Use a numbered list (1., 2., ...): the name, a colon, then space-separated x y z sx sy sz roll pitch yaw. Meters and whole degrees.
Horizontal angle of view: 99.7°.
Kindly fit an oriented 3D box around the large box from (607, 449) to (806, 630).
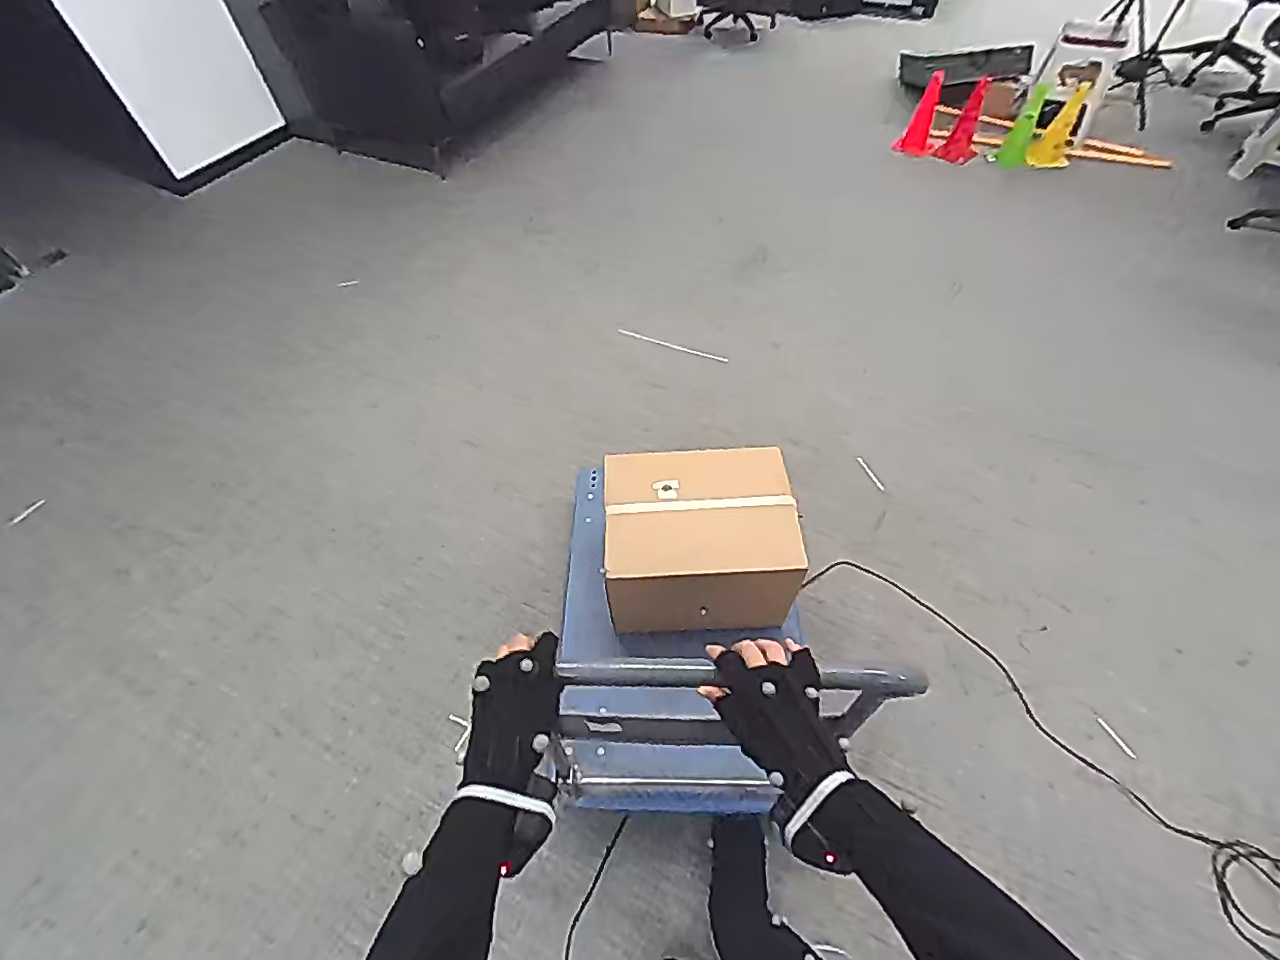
1. large box: 0.136 0.149 1.279 0.408 0.320 0.320 -3 54 1
